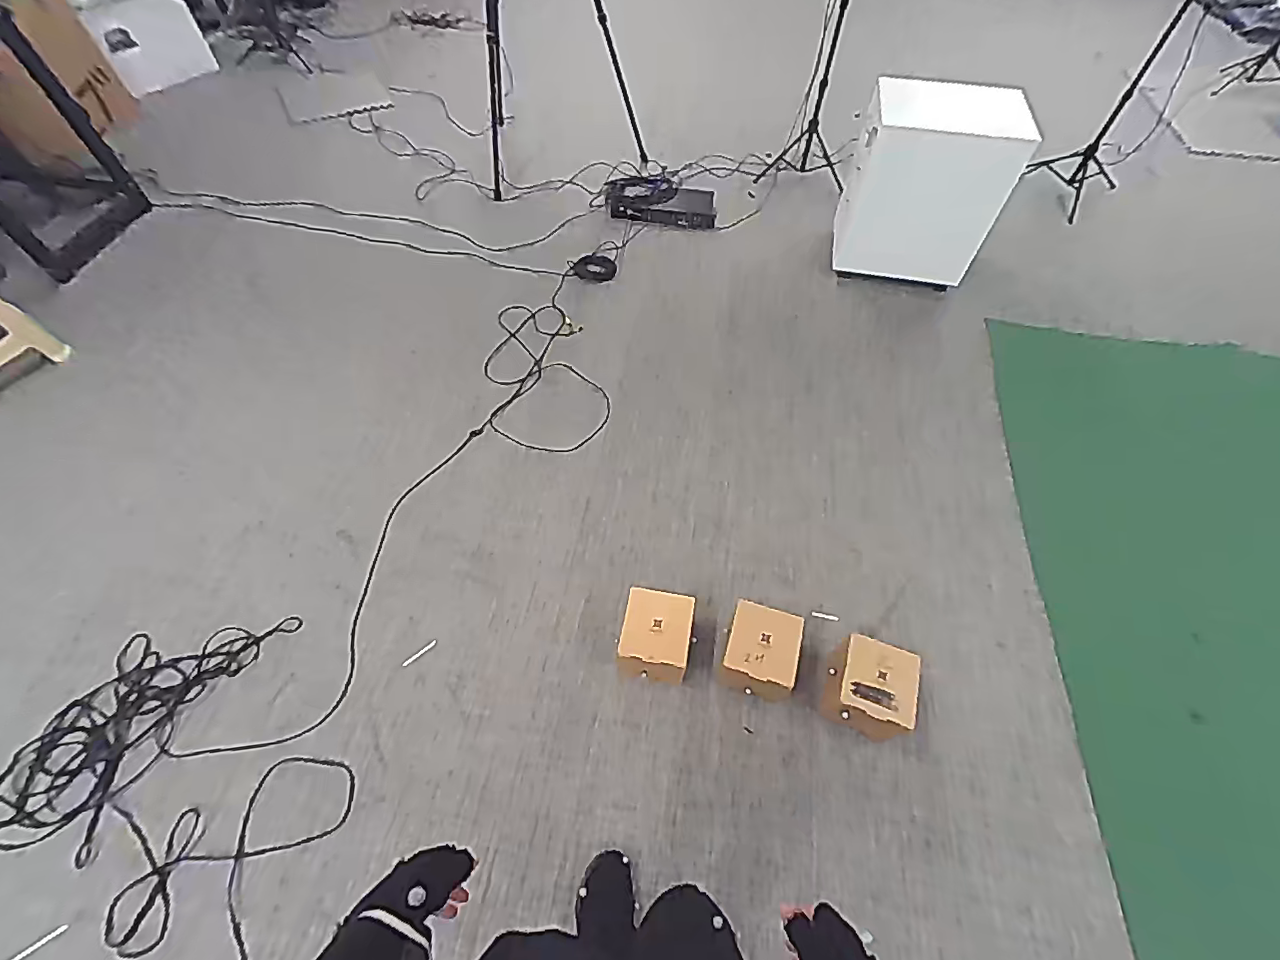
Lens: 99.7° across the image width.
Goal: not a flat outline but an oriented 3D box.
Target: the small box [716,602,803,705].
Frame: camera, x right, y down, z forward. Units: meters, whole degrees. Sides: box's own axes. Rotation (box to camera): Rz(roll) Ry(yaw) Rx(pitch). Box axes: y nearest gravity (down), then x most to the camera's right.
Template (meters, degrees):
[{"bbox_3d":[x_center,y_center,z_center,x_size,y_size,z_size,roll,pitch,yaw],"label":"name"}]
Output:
[{"bbox_3d":[0.294,0.436,1.348,0.168,0.176,0.179,15,58,10],"label":"small box"}]

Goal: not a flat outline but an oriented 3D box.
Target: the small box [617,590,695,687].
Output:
[{"bbox_3d":[0.040,0.403,1.370,0.168,0.176,0.179,9,57,6],"label":"small box"}]
